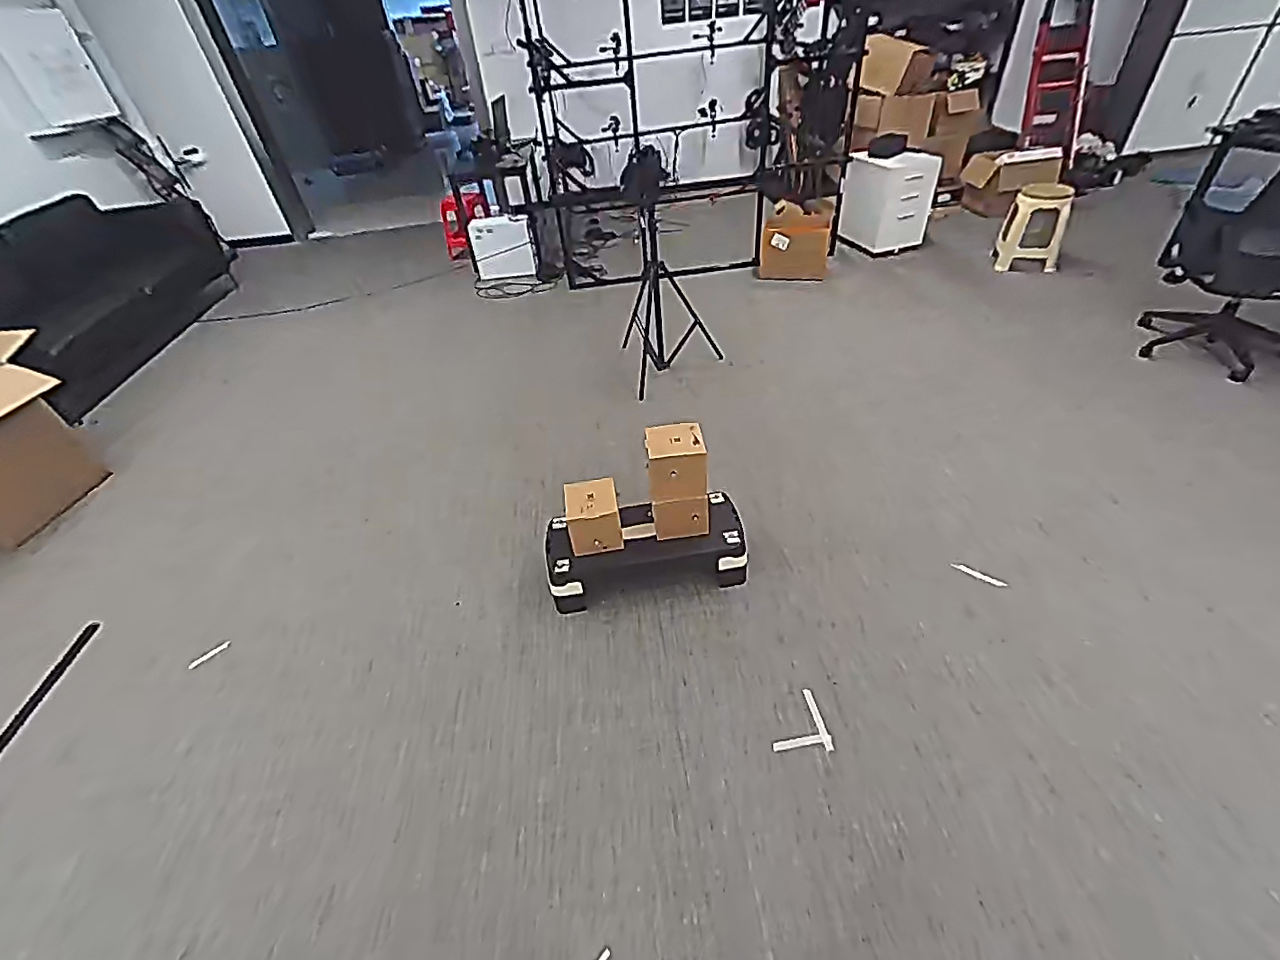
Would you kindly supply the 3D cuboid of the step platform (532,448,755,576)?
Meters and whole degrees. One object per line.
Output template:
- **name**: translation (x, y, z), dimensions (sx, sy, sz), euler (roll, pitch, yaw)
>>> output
- **step platform**: translation (0.012, 0.103, 1.731), dimensions (0.684, 0.204, 0.286), euler (-9, 40, -3)

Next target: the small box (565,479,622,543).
- **small box**: translation (-0.153, 0.124, 1.782), dimensions (0.168, 0.176, 0.179), euler (-9, 40, -3)

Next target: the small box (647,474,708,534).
- **small box**: translation (0.124, 0.082, 1.796), dimensions (0.179, 0.176, 0.168), euler (-9, 39, -2)

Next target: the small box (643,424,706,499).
- **small box**: translation (0.110, -0.055, 1.707), dimensions (0.179, 0.176, 0.168), euler (-7, 40, 1)
